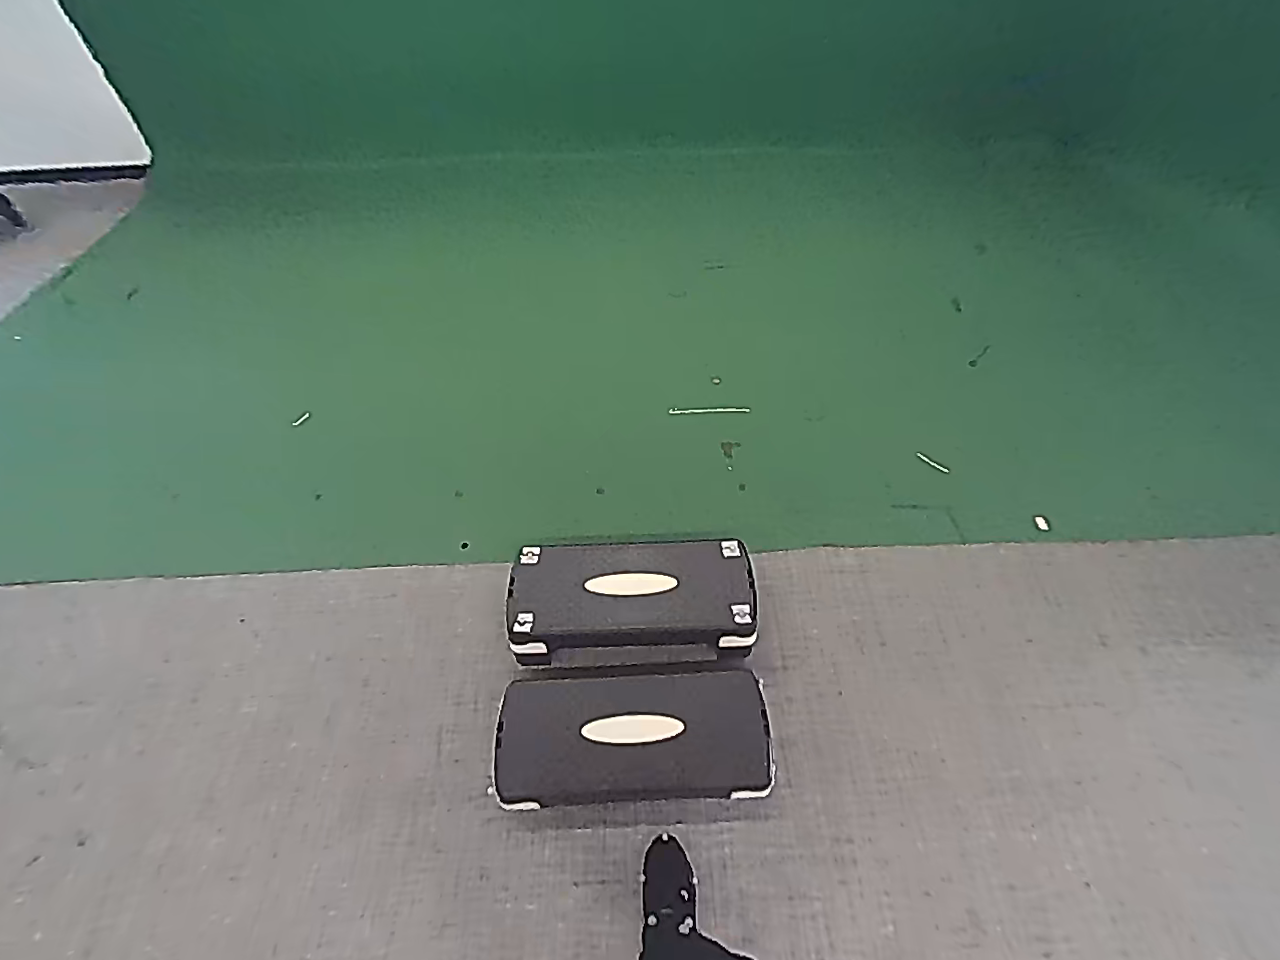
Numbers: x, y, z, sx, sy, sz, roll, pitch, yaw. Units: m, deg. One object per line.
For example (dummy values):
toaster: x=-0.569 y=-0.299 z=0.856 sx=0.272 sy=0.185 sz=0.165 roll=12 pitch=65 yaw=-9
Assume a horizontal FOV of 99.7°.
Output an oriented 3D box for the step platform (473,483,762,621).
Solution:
step platform: x=-0.052 y=0.185 z=1.368 sx=0.684 sy=0.204 sz=0.286 roll=-3 pitch=52 yaw=0
